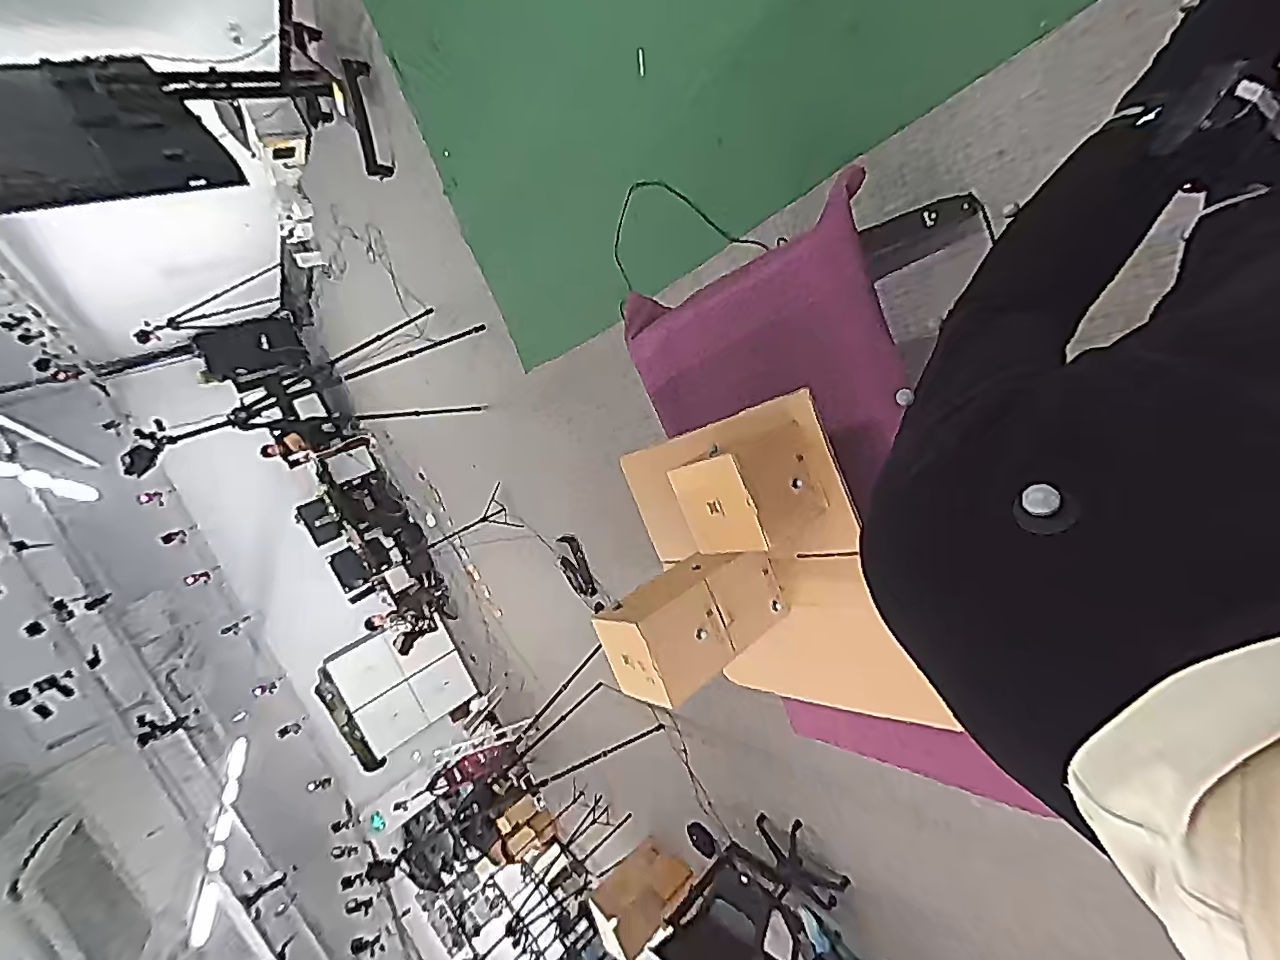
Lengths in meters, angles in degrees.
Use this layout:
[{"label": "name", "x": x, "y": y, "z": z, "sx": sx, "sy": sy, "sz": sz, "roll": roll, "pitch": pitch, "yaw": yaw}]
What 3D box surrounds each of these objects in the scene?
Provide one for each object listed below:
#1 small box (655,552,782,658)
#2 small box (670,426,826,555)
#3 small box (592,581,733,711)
[{"label": "small box", "x": 0.168, "y": 0.243, "z": 1.115, "sx": 0.179, "sy": 0.176, "sz": 0.168, "roll": -16, "pitch": 97, "yaw": 57}, {"label": "small box", "x": 0.189, "y": 0.021, "z": 0.947, "sx": 0.179, "sy": 0.176, "sz": 0.168, "roll": -16, "pitch": 98, "yaw": 55}, {"label": "small box", "x": 0.043, "y": 0.303, "z": 1.027, "sx": 0.179, "sy": 0.176, "sz": 0.168, "roll": -16, "pitch": 97, "yaw": 55}]
